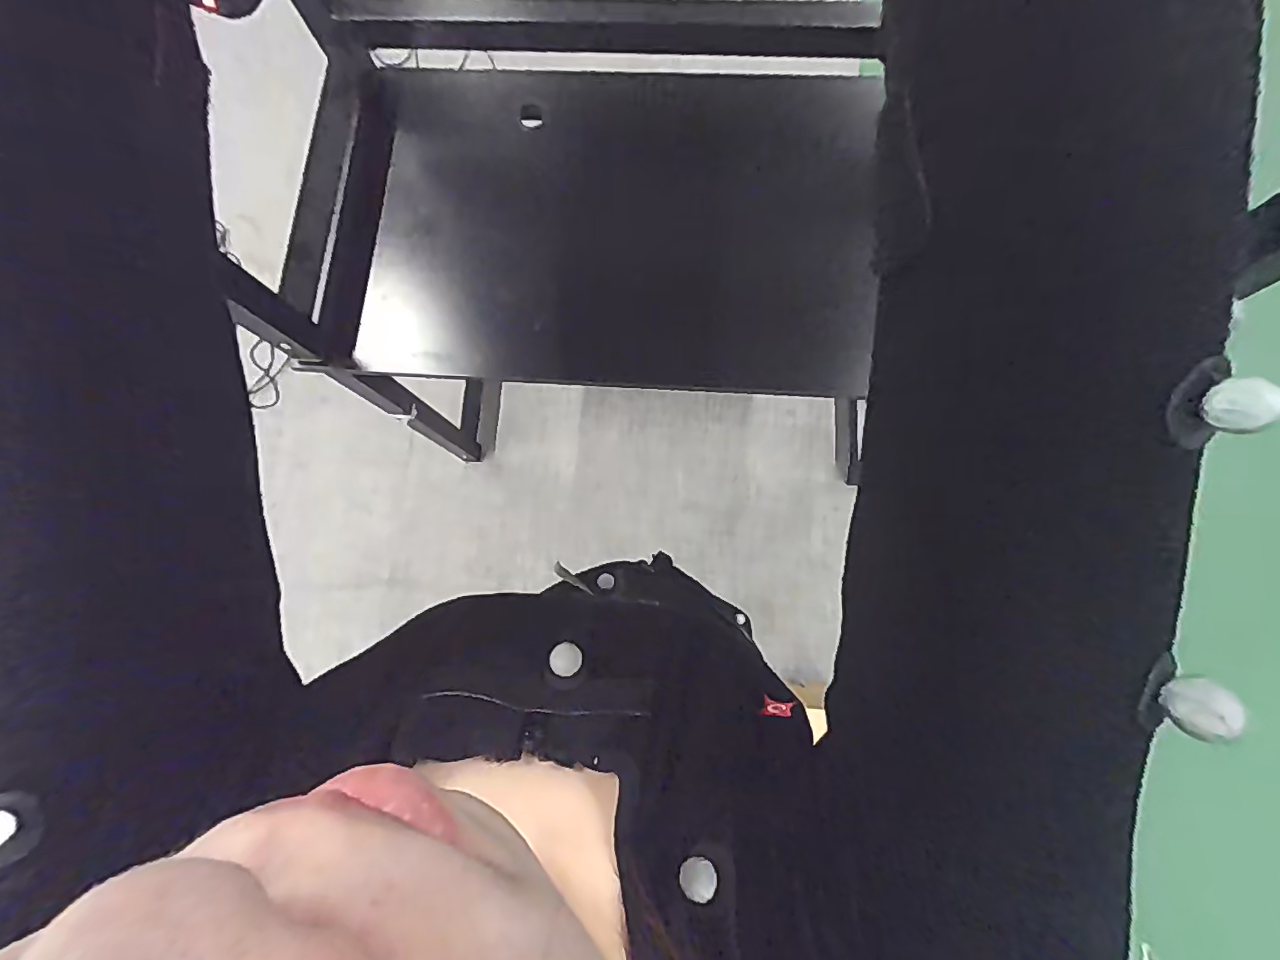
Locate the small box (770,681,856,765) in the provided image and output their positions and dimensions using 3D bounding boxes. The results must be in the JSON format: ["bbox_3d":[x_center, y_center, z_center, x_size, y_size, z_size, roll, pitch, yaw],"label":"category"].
[{"bbox_3d":[0.422,0.599,1.337,0.179,0.176,0.168,2,79,3],"label":"small box"}]

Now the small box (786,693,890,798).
[{"bbox_3d":[0.422,0.567,1.177,0.179,0.176,0.168,3,79,2],"label":"small box"}]
